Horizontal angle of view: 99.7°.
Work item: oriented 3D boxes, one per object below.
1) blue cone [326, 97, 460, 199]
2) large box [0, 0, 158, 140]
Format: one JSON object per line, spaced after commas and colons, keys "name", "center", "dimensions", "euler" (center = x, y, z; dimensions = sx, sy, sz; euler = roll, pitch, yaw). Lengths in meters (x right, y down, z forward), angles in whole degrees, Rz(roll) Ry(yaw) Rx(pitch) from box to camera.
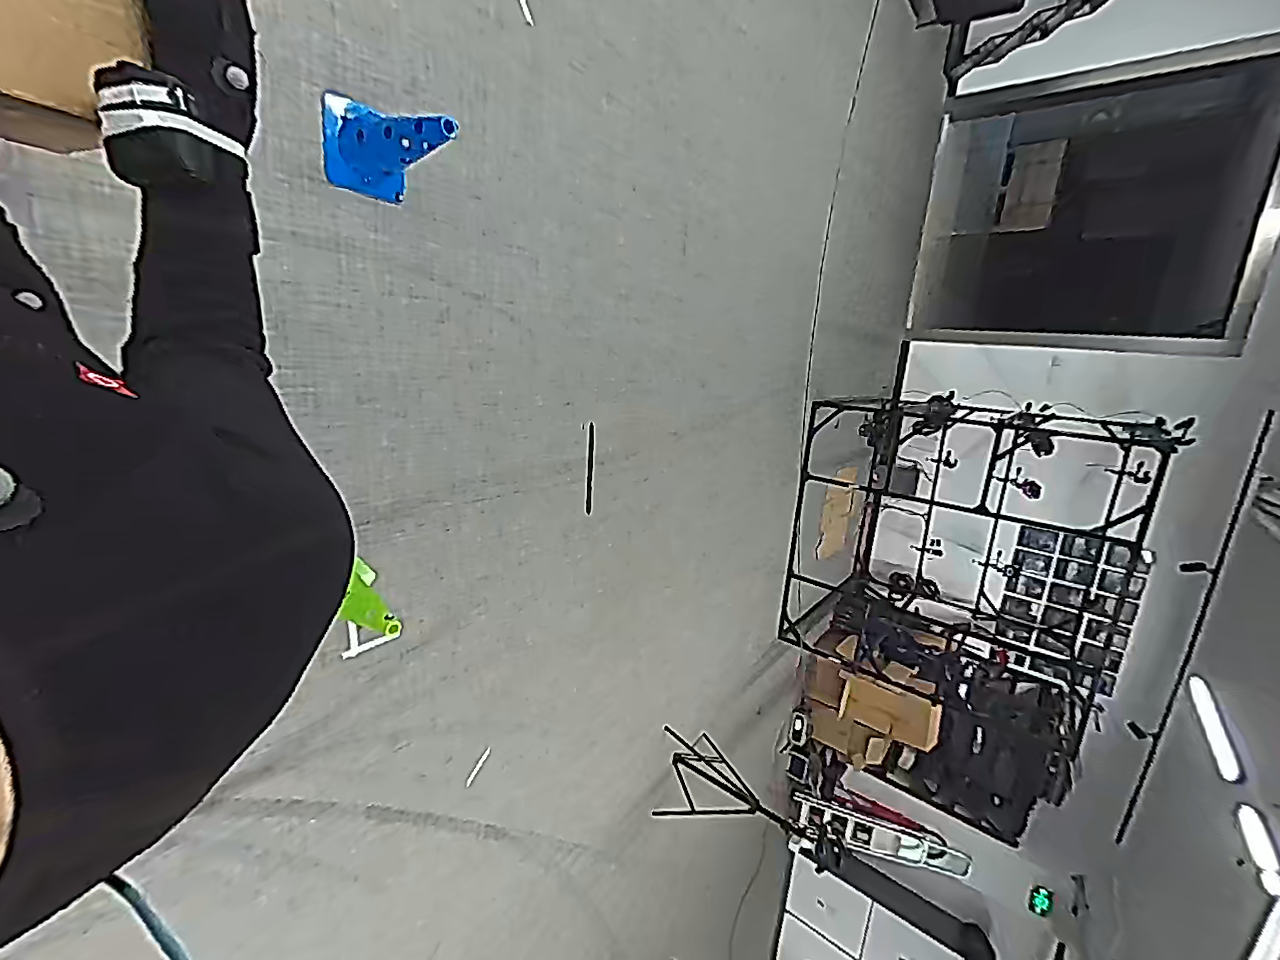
{"name": "blue cone", "center": [-0.557, -0.793, 1.261], "dimensions": [0.192, 0.380, 0.193], "euler": [-8, 108, -53]}
{"name": "large box", "center": [-0.563, -0.428, 0.279], "dimensions": [0.408, 0.320, 0.320], "euler": [-9, 115, -55]}
